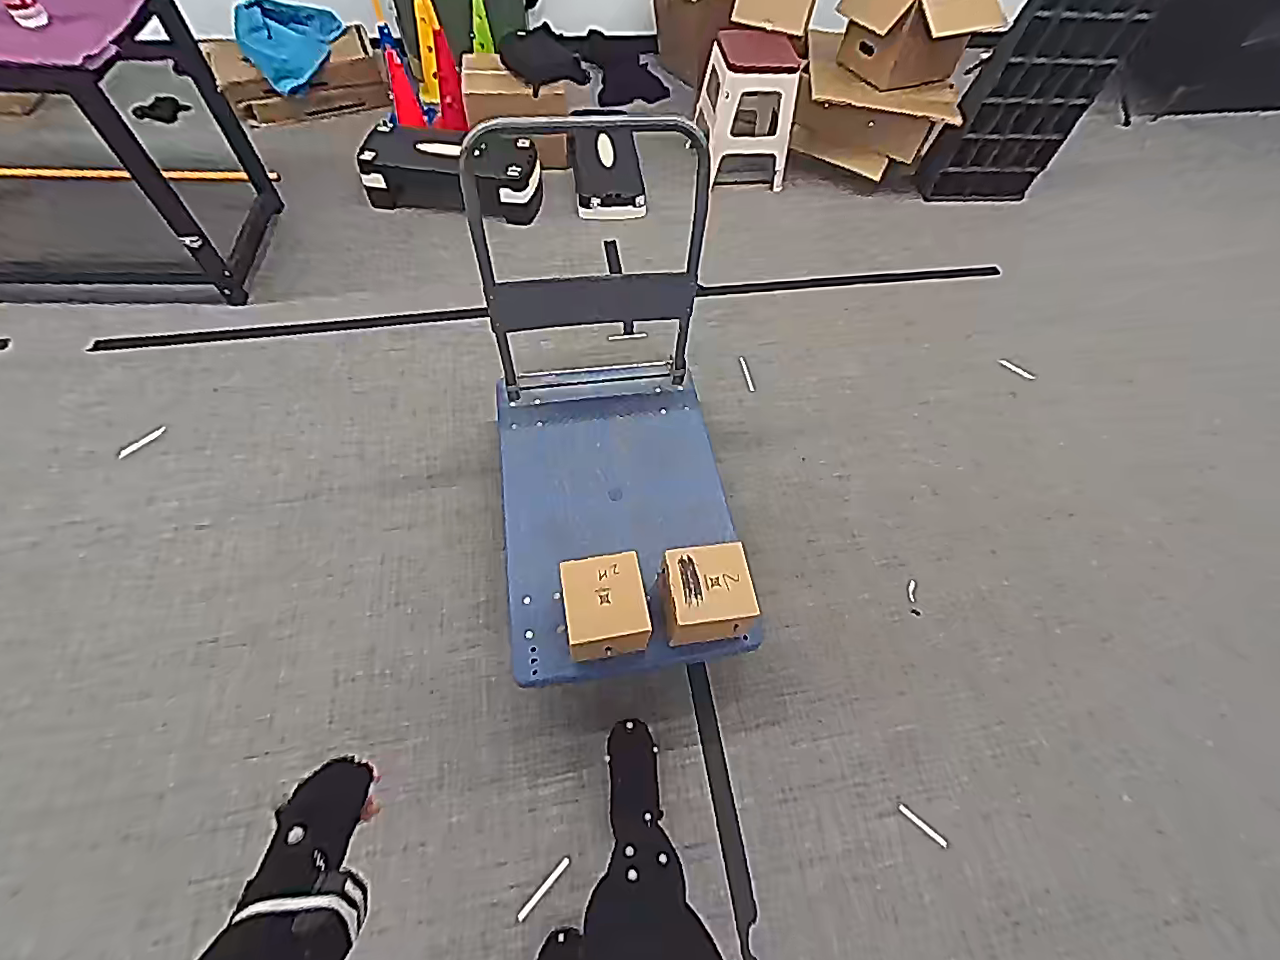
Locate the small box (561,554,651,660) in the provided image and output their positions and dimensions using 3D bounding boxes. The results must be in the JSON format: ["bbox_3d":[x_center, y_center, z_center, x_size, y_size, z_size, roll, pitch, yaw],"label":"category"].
[{"bbox_3d":[-0.075,0.281,1.172,0.168,0.176,0.179,-7,60,-9],"label":"small box"}]
